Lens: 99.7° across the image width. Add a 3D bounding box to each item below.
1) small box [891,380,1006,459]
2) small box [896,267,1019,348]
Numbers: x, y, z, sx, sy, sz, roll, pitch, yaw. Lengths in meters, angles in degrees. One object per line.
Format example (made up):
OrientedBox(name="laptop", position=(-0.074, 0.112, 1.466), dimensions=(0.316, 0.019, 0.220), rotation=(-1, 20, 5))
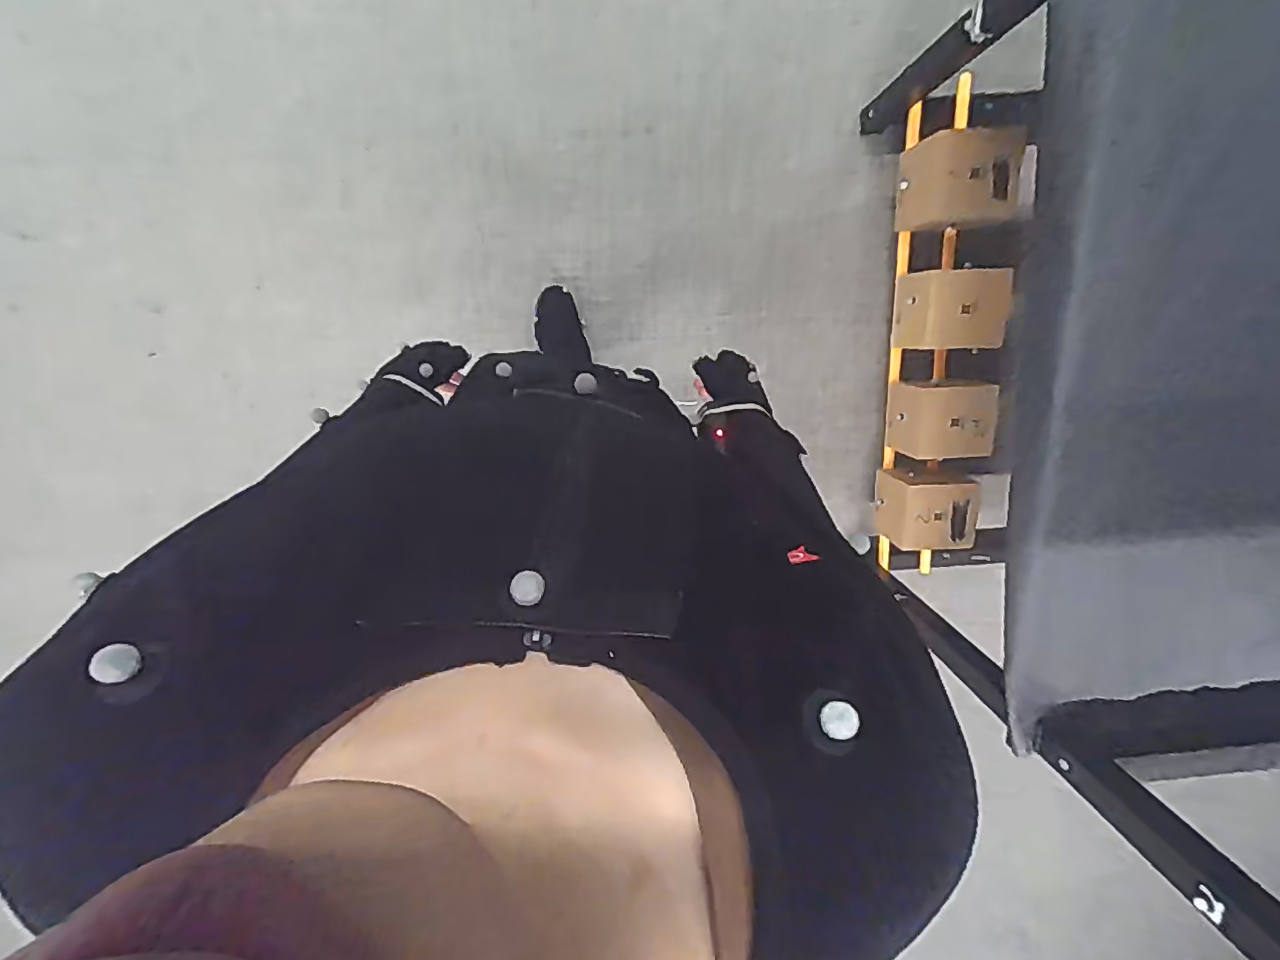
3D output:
OrientedBox(name="small box", position=(0.726, -0.150, 1.293), dimensions=(0.179, 0.176, 0.168), rotation=(-3, 105, -1))
OrientedBox(name="small box", position=(0.710, -0.387, 1.231), dimensions=(0.179, 0.176, 0.168), rotation=(-2, 106, -1))
